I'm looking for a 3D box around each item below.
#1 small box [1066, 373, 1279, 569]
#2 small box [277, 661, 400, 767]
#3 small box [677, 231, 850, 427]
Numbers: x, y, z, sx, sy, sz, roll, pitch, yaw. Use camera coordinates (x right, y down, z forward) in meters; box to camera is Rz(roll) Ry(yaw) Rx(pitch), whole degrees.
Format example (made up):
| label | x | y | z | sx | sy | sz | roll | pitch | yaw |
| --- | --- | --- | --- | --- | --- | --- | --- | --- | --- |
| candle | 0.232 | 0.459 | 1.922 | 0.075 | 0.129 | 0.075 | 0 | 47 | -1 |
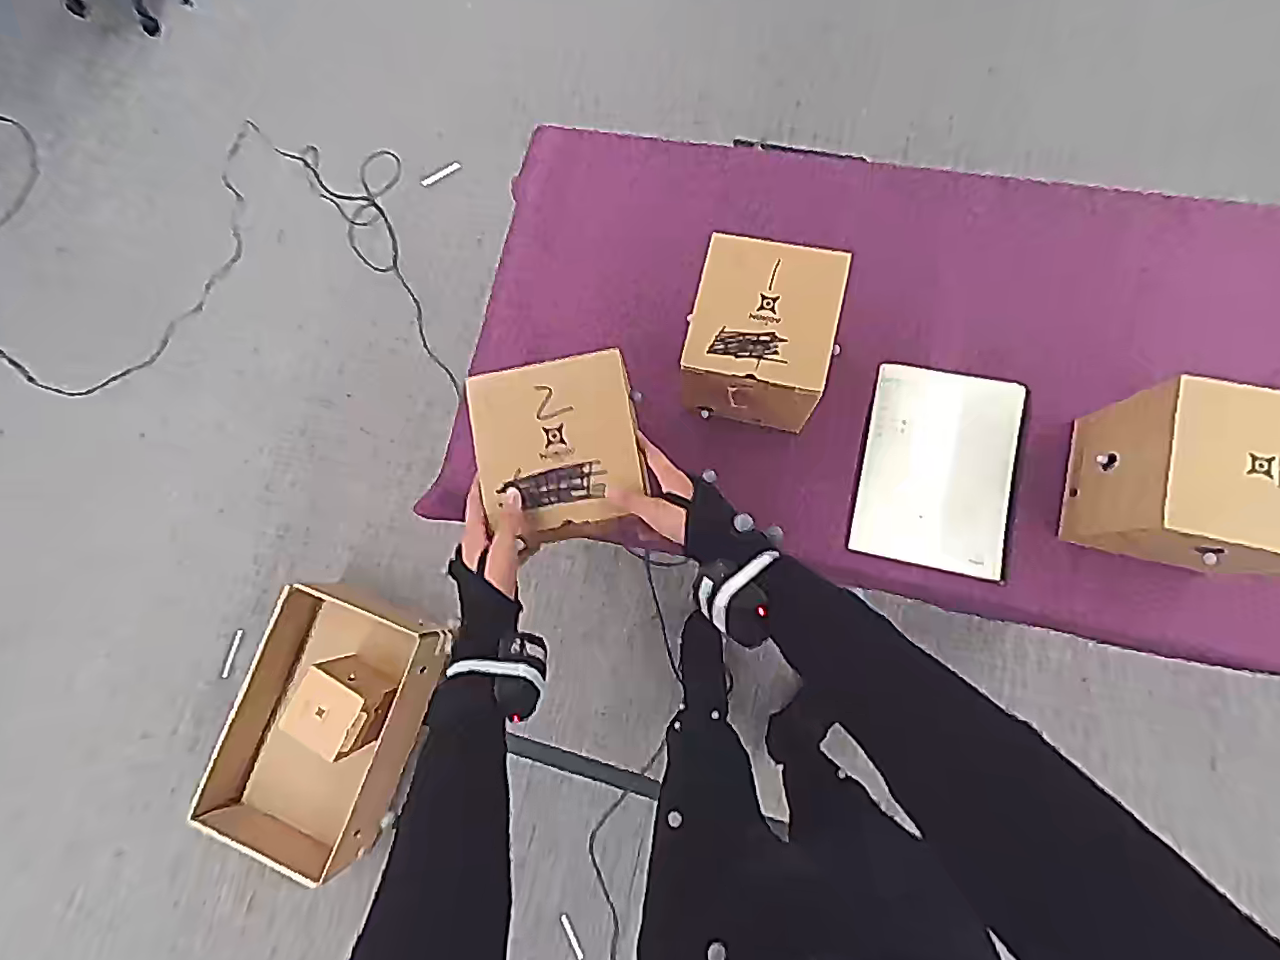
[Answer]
| label | x | y | z | sx | sy | sz | roll | pitch | yaw |
| --- | --- | --- | --- | --- | --- | --- | --- | --- | --- |
| small box | 0.623 | 0.001 | 0.600 | 0.179 | 0.176 | 0.168 | 14 | 82 | 9 |
| small box | -0.748 | 0.578 | 1.365 | 0.179 | 0.176 | 0.168 | 26 | 84 | 10 |
| small box | 0.150 | -0.180 | 0.691 | 0.168 | 0.176 | 0.179 | 13 | 81 | 9 |
